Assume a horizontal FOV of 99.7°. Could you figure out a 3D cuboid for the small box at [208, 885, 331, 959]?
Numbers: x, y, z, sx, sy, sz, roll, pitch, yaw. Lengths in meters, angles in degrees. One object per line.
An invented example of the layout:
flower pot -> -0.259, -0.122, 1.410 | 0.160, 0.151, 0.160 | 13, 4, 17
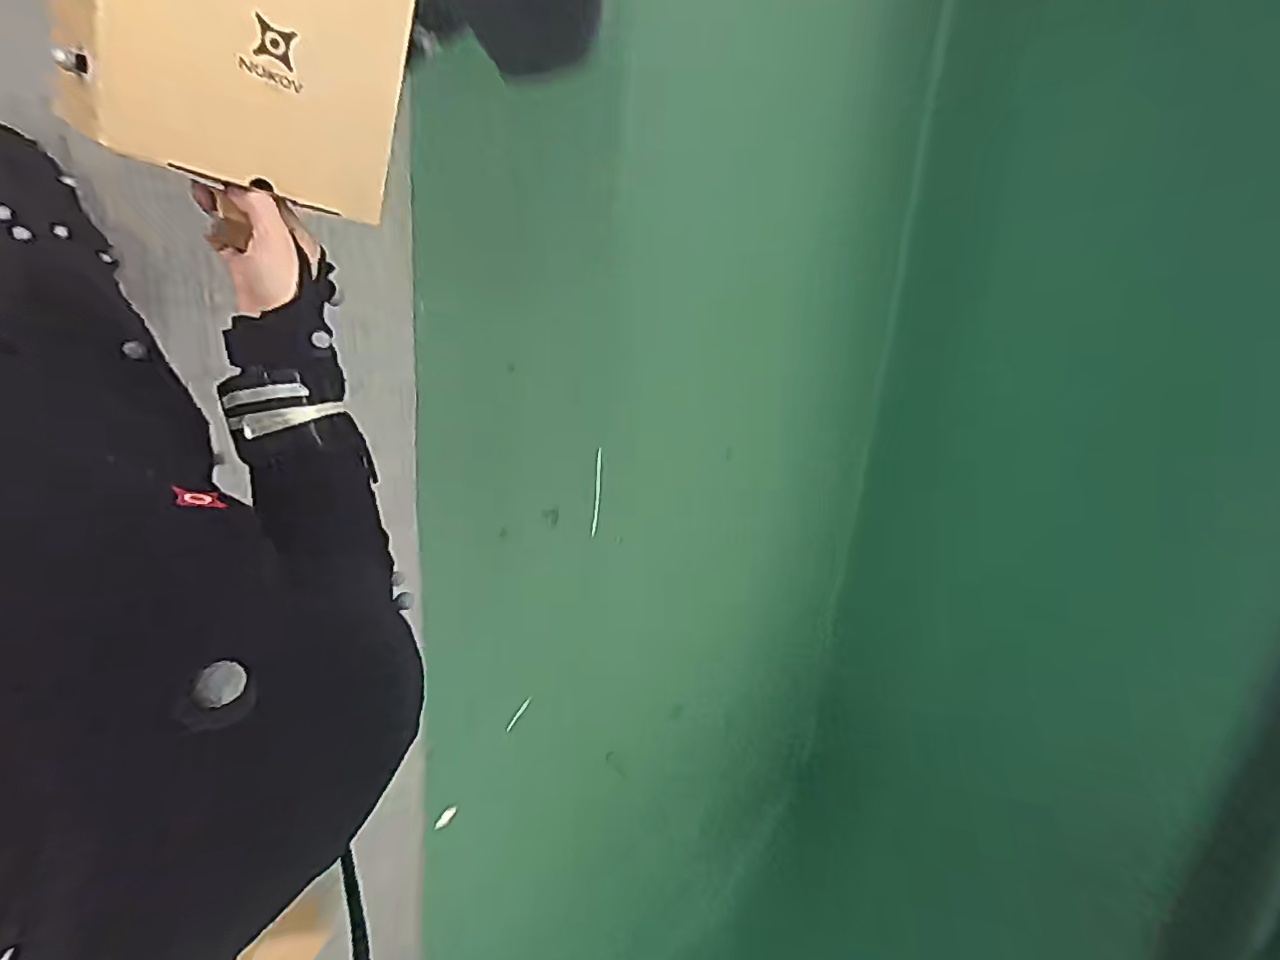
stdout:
small box -> -0.920, 1.147, 1.338 | 0.179, 0.176, 0.168 | 43, 72, -48
